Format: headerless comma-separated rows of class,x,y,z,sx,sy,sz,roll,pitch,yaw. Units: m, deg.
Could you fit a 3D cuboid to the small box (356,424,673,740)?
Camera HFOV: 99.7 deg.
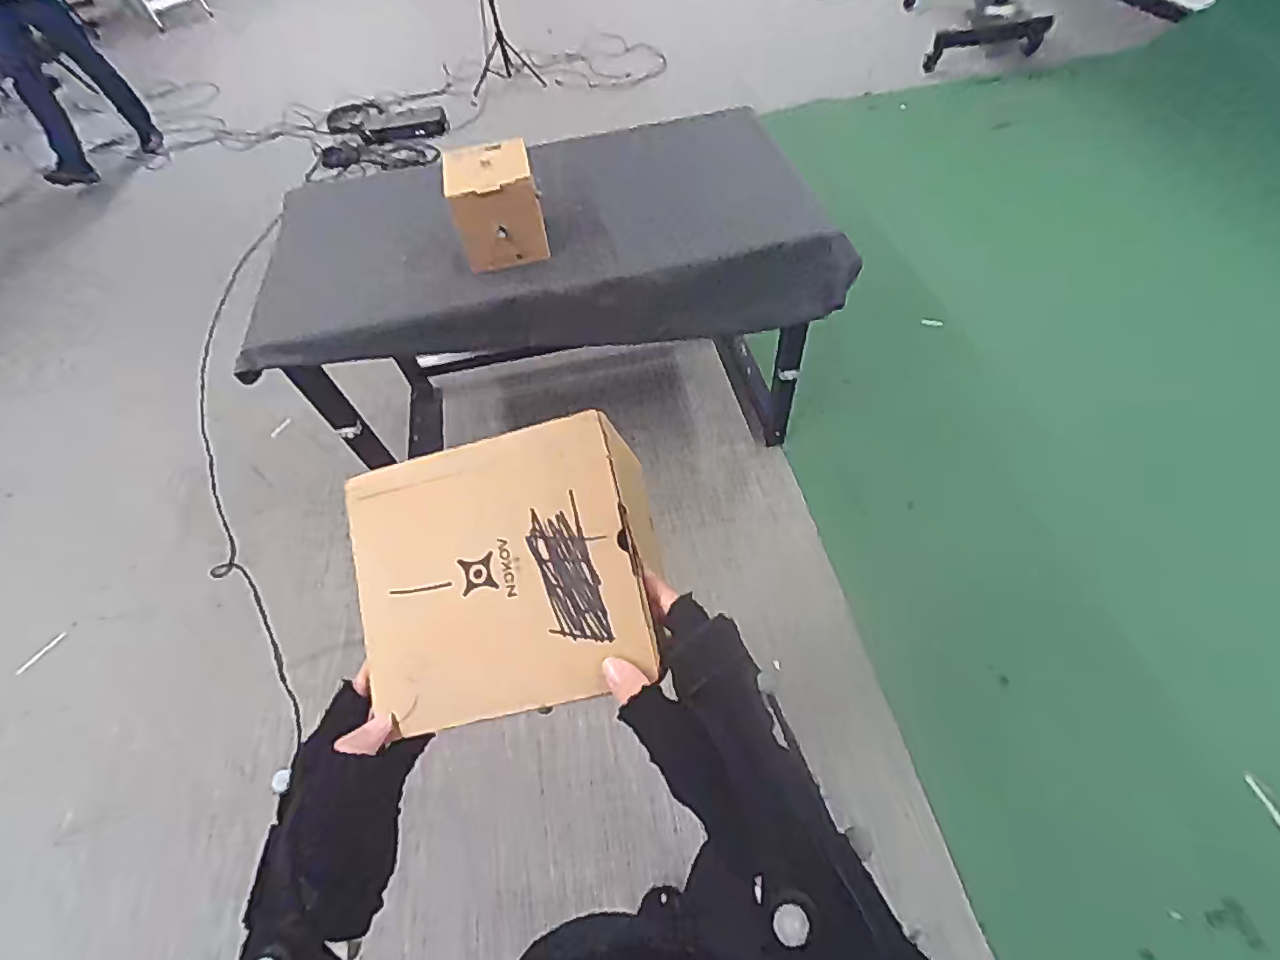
small box,-0.076,0.072,0.410,0.179,0.176,0.168,-14,79,6

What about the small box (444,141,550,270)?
small box,-0.288,-0.551,1.106,0.168,0.176,0.179,-13,57,-3
